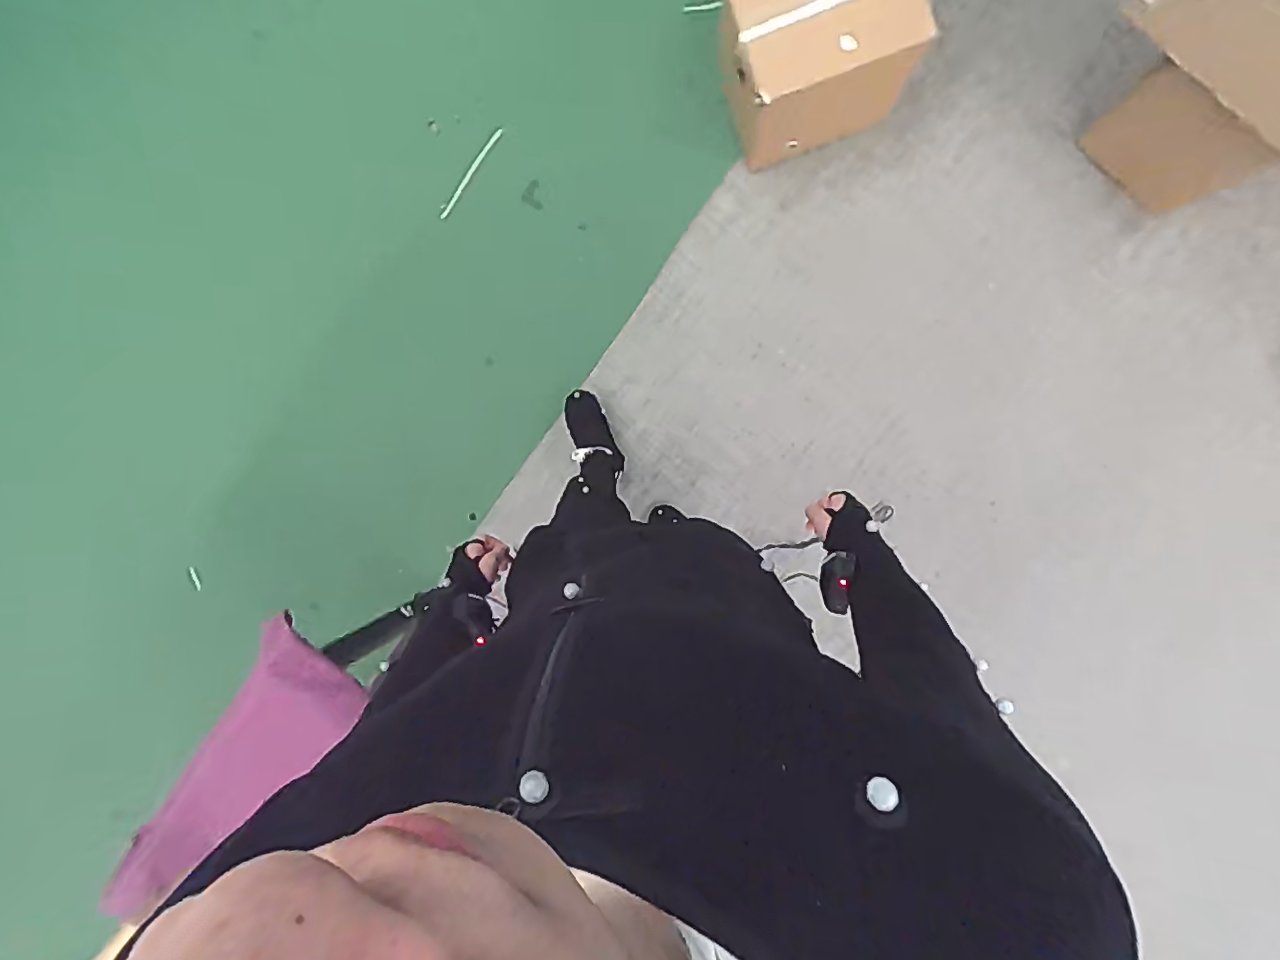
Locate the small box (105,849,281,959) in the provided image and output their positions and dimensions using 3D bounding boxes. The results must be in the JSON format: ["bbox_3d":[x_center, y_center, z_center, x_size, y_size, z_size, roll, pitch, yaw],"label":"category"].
[{"bbox_3d":[-0.789,0.814,0.951,0.168,0.176,0.179,42,96,1],"label":"small box"}]
